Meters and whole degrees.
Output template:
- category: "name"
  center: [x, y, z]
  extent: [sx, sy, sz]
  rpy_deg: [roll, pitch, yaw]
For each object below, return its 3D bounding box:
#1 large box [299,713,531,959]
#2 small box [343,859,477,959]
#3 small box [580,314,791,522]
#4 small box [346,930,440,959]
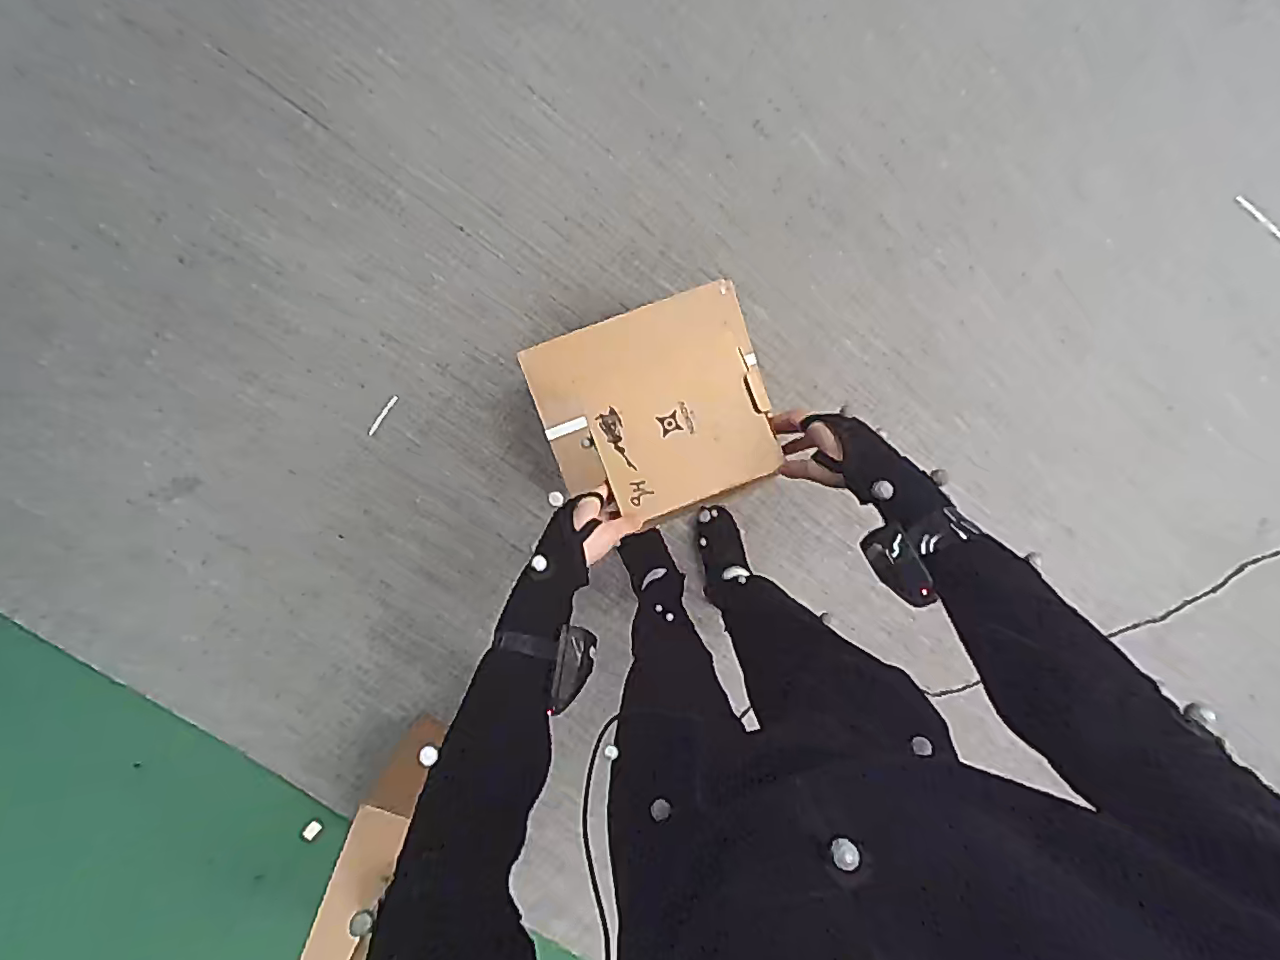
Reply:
- category: "large box"
  center: [-0.468, 0.811, 1.199]
  extent: [0.320, 0.320, 0.408]
  rpy_deg: [22, 95, -5]
- category: "small box"
  center: [-0.412, 0.824, 0.957]
  extent: [0.179, 0.176, 0.168]
  rpy_deg: [27, 93, -6]
- category: "small box"
  center: [0.046, -0.058, 0.623]
  extent: [0.179, 0.176, 0.168]
  rpy_deg: [-20, 81, 0]
- category: "small box"
  center: [-0.405, 0.834, 0.795]
  extent: [0.168, 0.176, 0.179]
  rpy_deg: [29, 92, -6]
